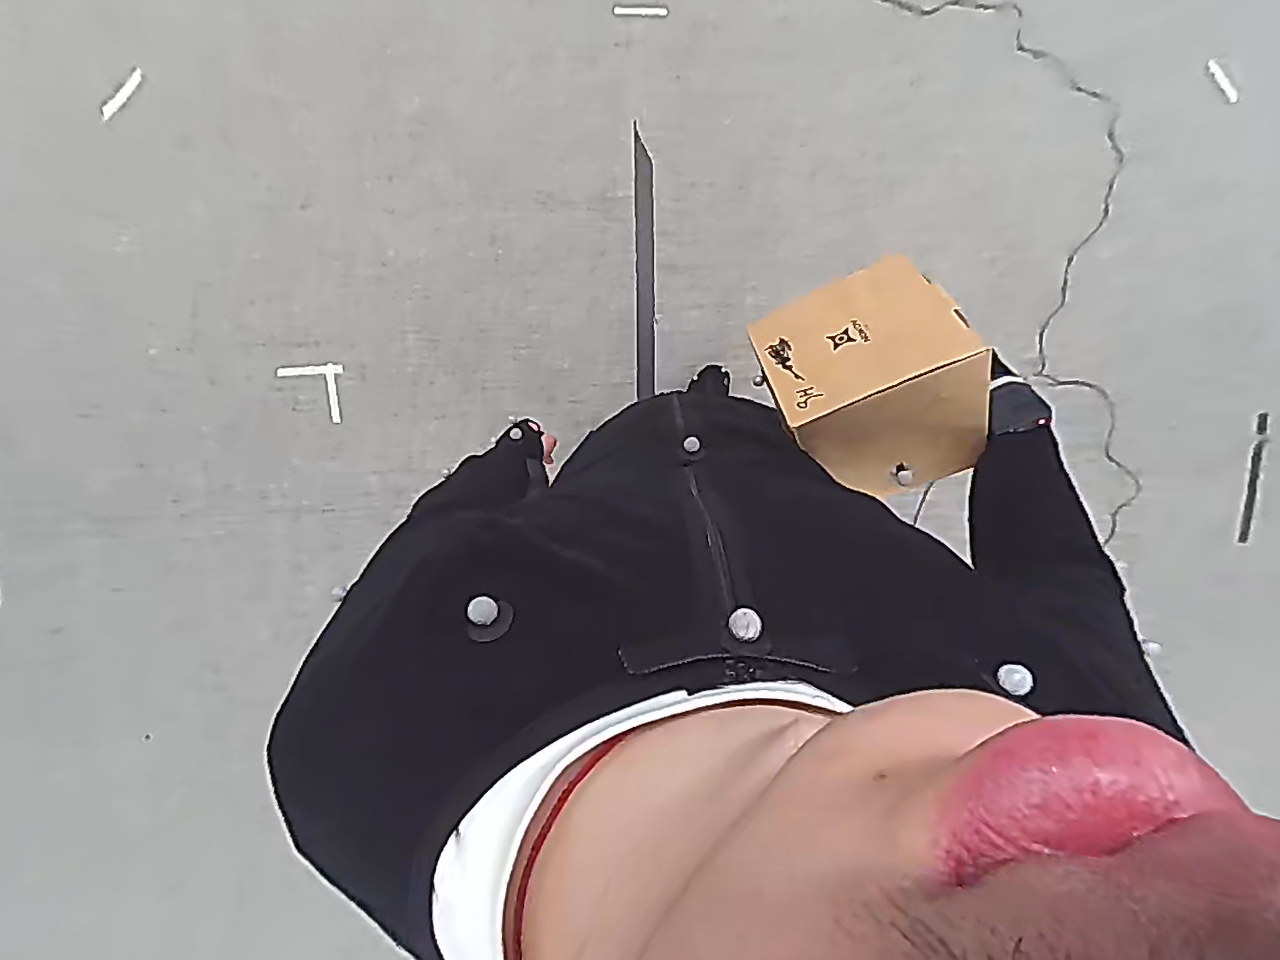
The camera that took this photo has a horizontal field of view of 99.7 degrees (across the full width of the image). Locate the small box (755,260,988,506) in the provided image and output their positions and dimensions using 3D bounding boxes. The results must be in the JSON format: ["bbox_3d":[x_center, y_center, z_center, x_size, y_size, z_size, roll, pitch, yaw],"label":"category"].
[{"bbox_3d":[0.249,-0.099,0.599,0.179,0.168,0.176,-22,137,14],"label":"small box"}]
